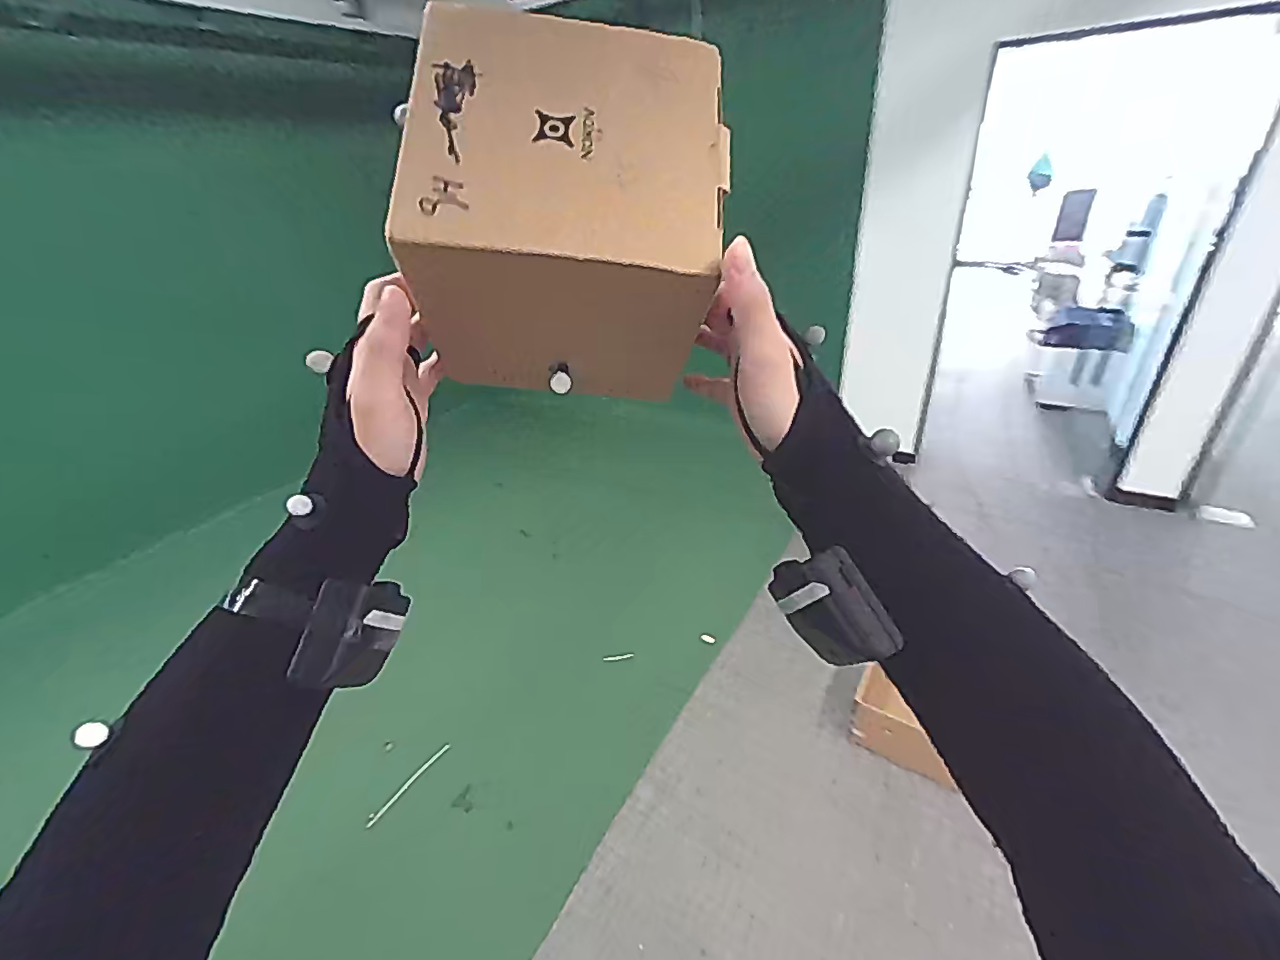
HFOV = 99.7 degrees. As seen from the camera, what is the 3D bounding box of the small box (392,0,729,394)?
[{"bbox_3d":[-0.047,-0.170,0.377,0.179,0.168,0.176,4,-15,-7],"label":"small box"}]
